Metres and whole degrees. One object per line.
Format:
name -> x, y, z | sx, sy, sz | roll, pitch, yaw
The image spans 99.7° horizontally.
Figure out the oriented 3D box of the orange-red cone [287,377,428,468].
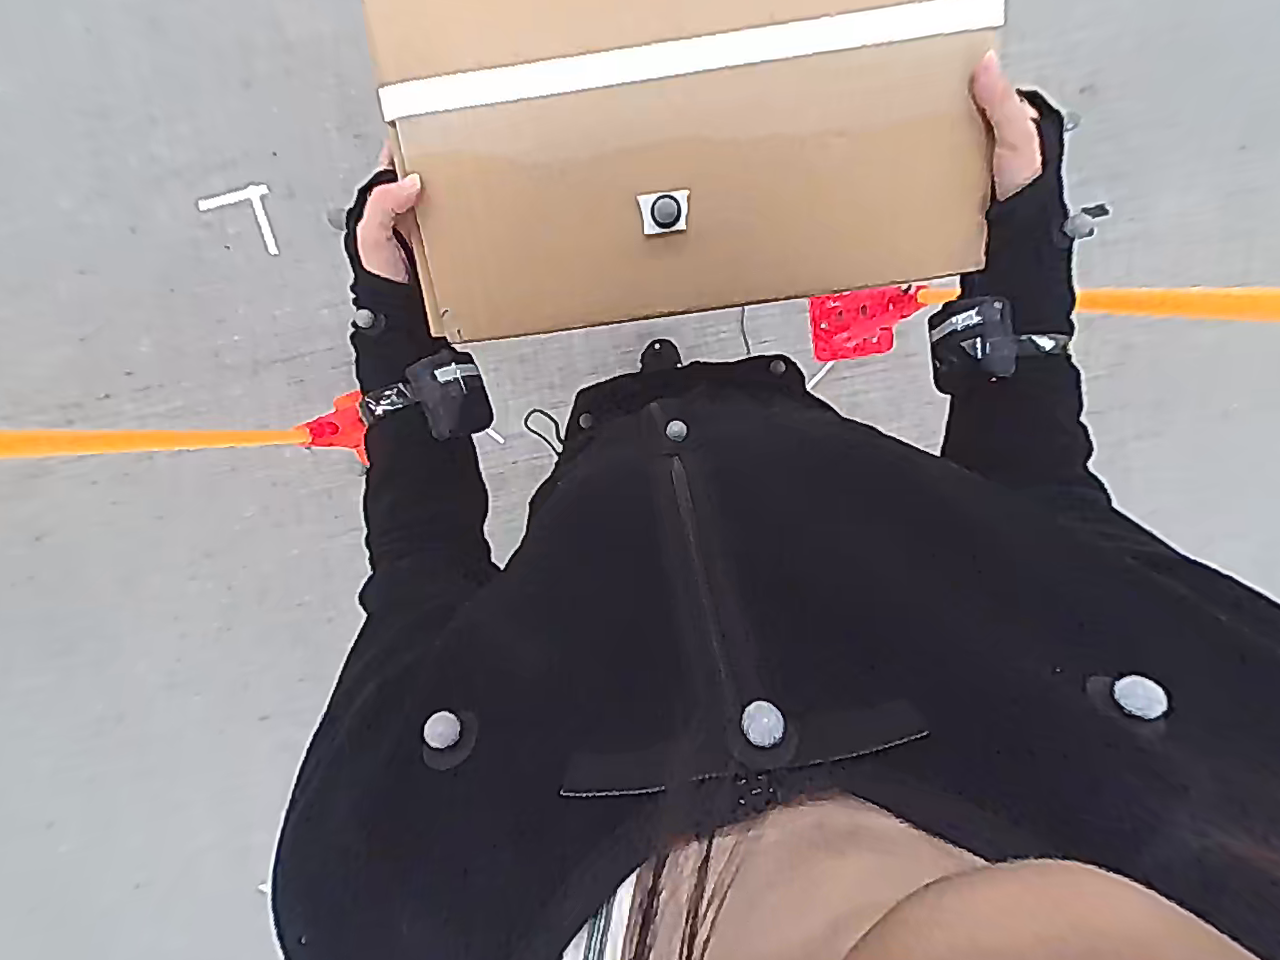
orange-red cone -> -0.661, -0.113, 1.211 | 0.199, 0.360, 0.198 | -19, 100, 4
